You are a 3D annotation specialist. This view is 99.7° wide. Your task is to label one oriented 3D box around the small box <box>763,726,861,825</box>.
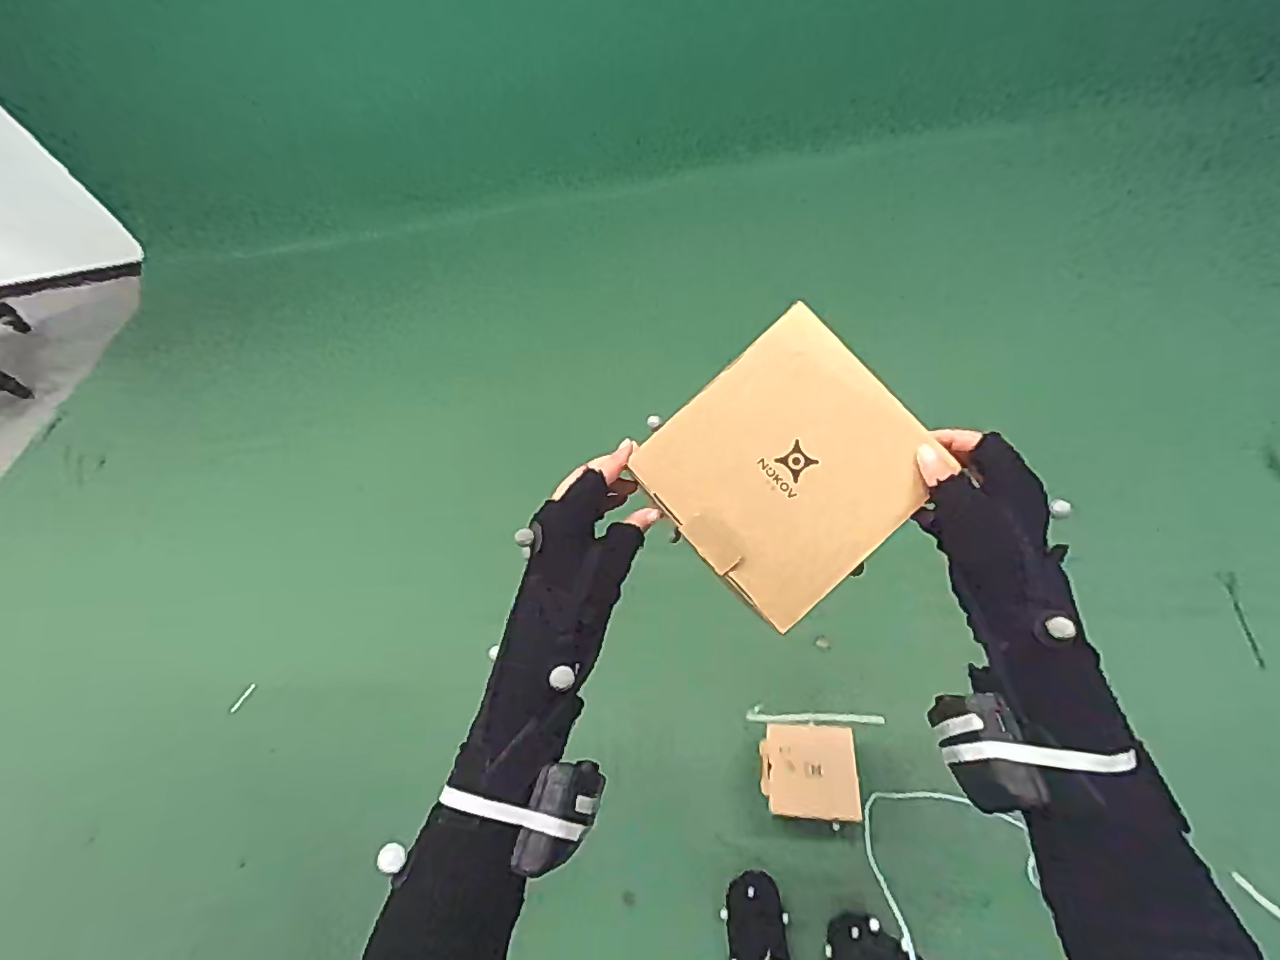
[{"bbox_3d":[0.358,0.632,1.154,0.179,0.176,0.168,-2,57,11],"label":"small box"}]
